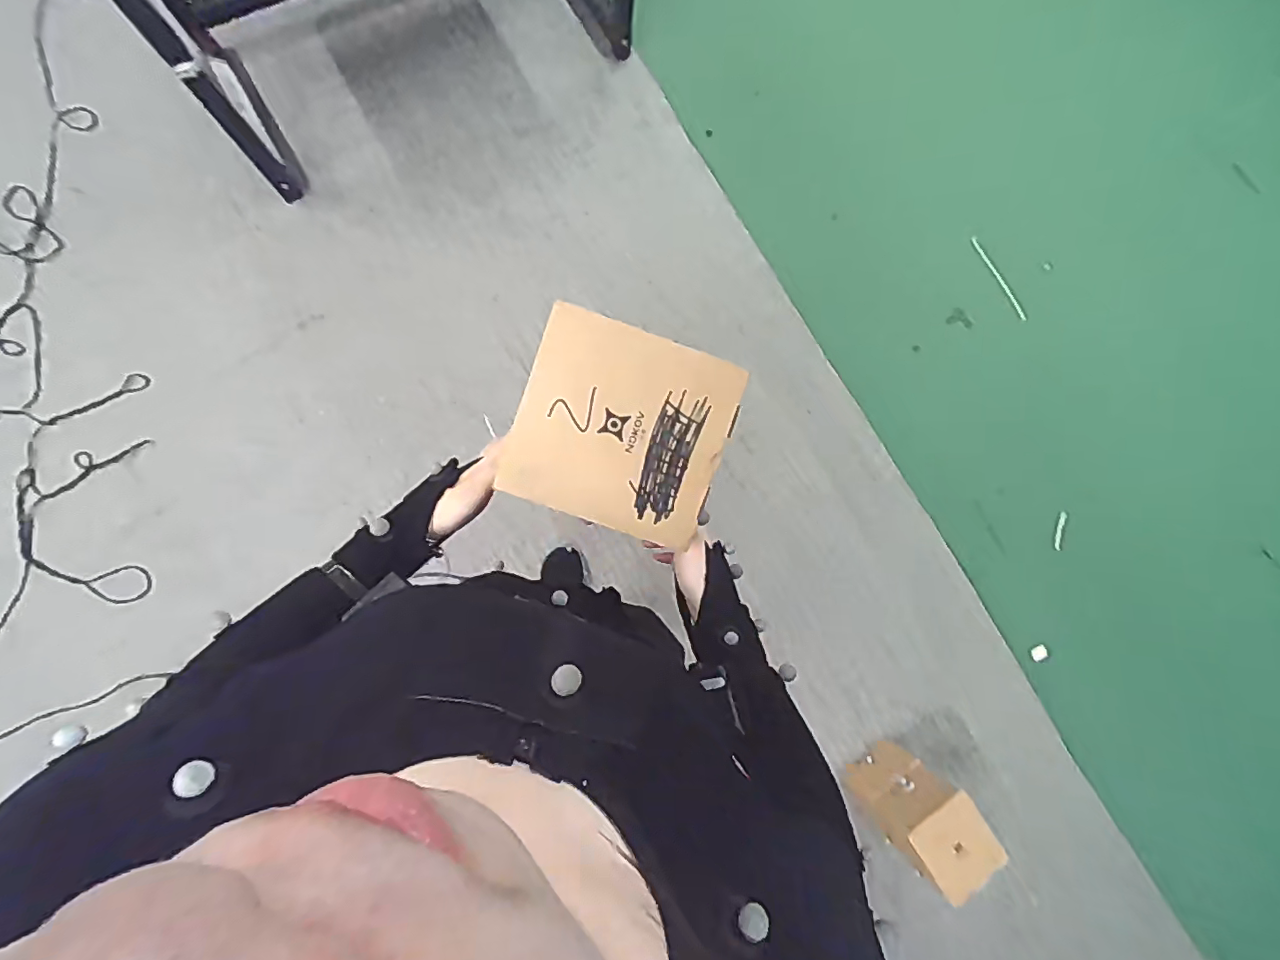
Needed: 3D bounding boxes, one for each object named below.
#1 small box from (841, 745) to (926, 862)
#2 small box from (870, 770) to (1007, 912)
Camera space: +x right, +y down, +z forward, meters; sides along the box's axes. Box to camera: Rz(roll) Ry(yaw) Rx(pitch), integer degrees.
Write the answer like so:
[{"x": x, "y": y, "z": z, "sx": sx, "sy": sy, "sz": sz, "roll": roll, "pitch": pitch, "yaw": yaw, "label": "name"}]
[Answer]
[{"x": 0.657, "y": 0.823, "z": 1.390, "sx": 0.168, "sy": 0.176, "sz": 0.179, "roll": -33, "pitch": 85, "yaw": -9, "label": "small box"}, {"x": 0.668, "y": 0.806, "z": 1.230, "sx": 0.168, "sy": 0.176, "sz": 0.179, "roll": -33, "pitch": 85, "yaw": -9, "label": "small box"}]
